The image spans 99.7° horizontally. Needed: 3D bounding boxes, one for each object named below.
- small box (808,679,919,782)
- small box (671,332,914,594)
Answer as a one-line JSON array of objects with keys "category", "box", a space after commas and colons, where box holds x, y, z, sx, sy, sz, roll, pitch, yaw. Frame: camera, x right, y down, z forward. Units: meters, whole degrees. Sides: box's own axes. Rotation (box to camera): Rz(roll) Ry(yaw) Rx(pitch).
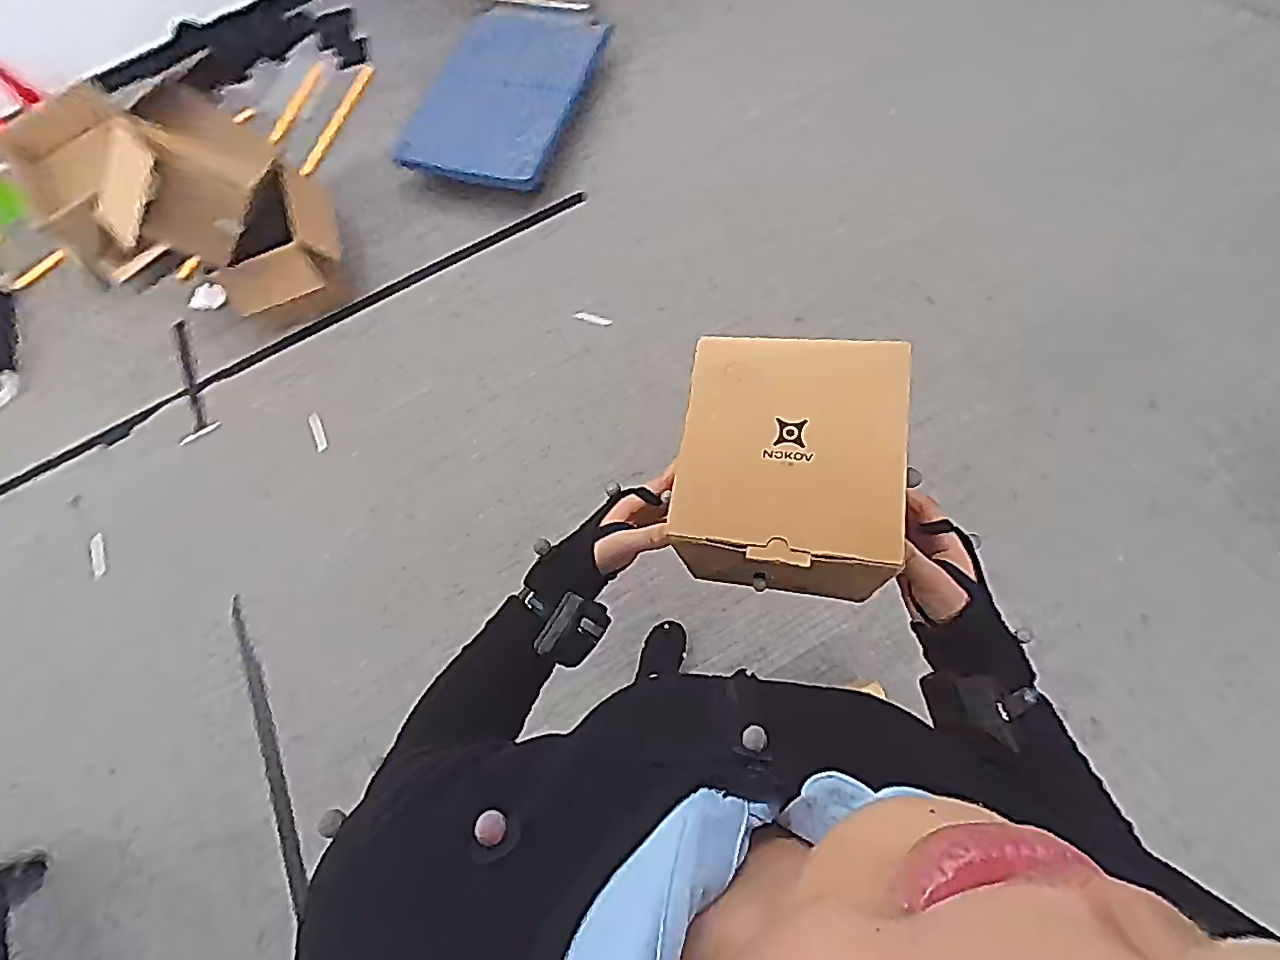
[{"category": "small box", "box": [0.519, 0.590, 1.292, 0.179, 0.176, 0.168, -24, 70, -2]}, {"category": "small box", "box": [0.130, -0.008, 0.473, 0.168, 0.176, 0.179, 4, 72, 15]}]
